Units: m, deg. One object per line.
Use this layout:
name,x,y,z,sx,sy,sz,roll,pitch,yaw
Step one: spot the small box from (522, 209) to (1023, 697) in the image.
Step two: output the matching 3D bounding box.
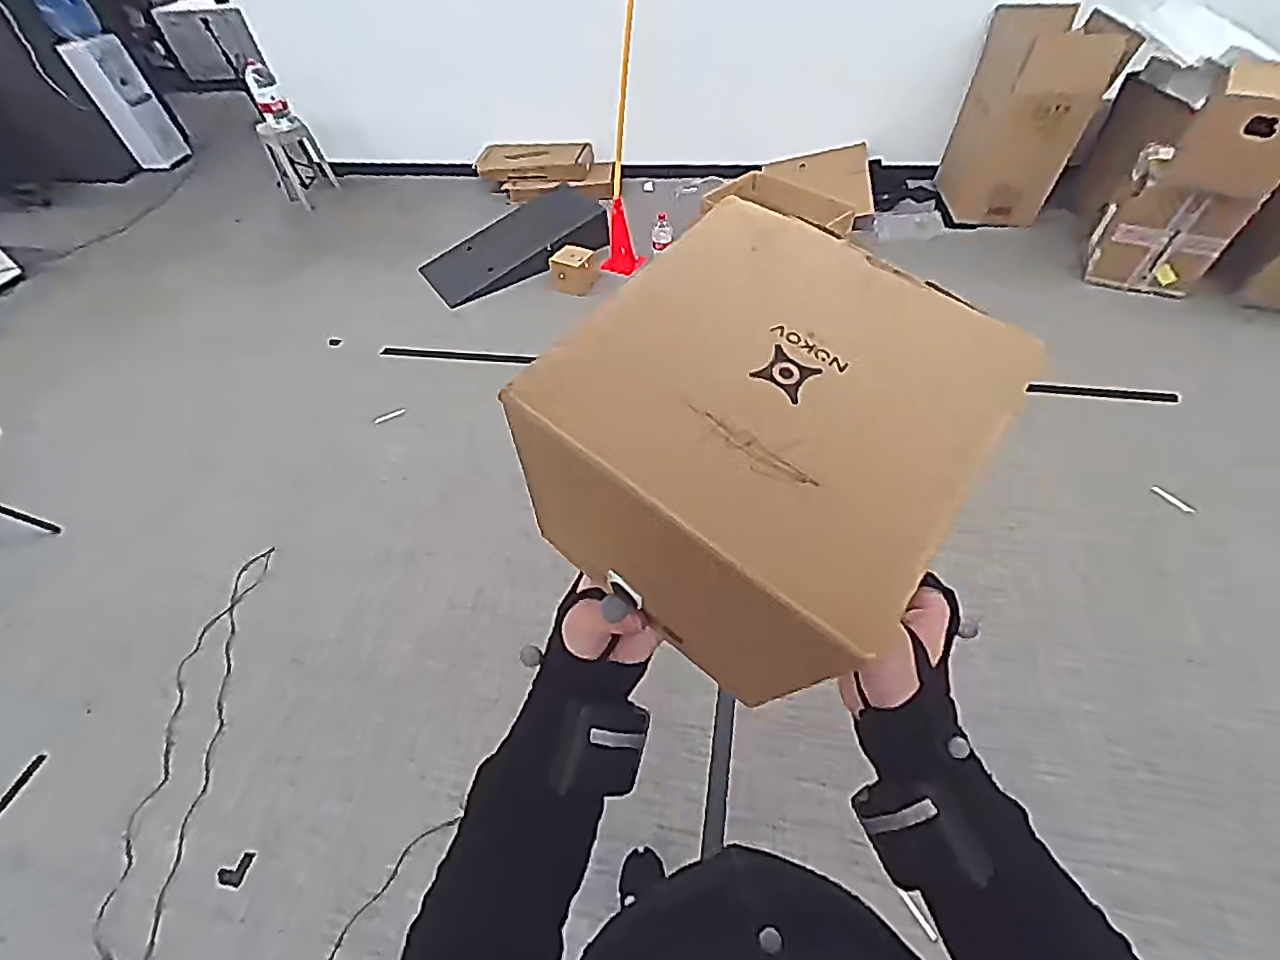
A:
small box,0.059,-0.005,0.307,0.168,0.176,0.179,35,66,15
